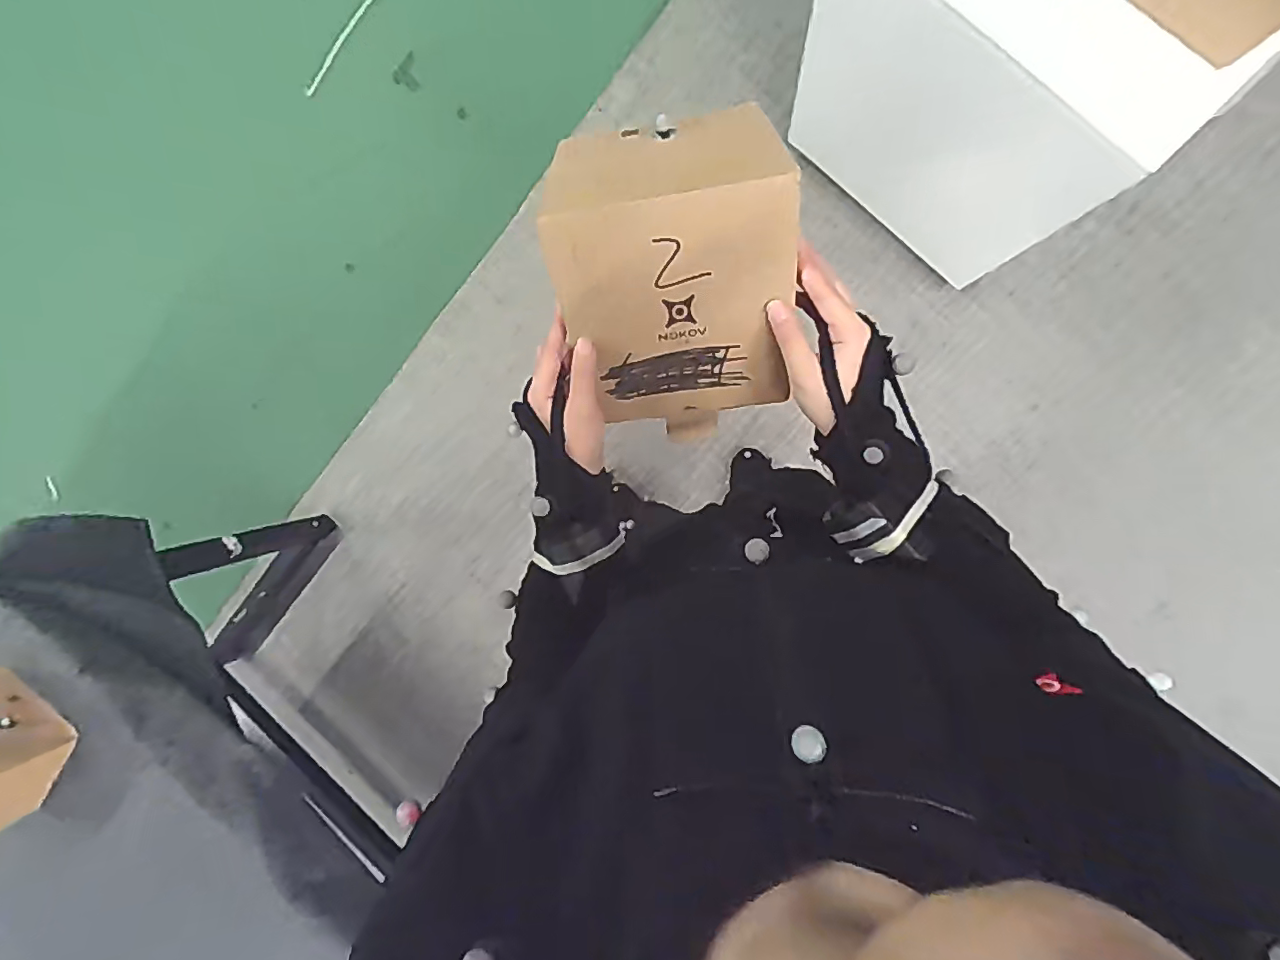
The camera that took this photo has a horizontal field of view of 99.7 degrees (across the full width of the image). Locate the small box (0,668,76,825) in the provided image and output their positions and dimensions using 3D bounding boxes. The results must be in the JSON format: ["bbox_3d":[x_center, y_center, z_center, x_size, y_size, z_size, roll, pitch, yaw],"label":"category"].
[{"bbox_3d":[-0.978,0.410,0.770,0.168,0.176,0.179,37,101,4],"label":"small box"}]

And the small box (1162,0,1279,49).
[{"bbox_3d":[0.632,-0.576,0.516,0.179,0.176,0.168,42,102,3],"label":"small box"}]
